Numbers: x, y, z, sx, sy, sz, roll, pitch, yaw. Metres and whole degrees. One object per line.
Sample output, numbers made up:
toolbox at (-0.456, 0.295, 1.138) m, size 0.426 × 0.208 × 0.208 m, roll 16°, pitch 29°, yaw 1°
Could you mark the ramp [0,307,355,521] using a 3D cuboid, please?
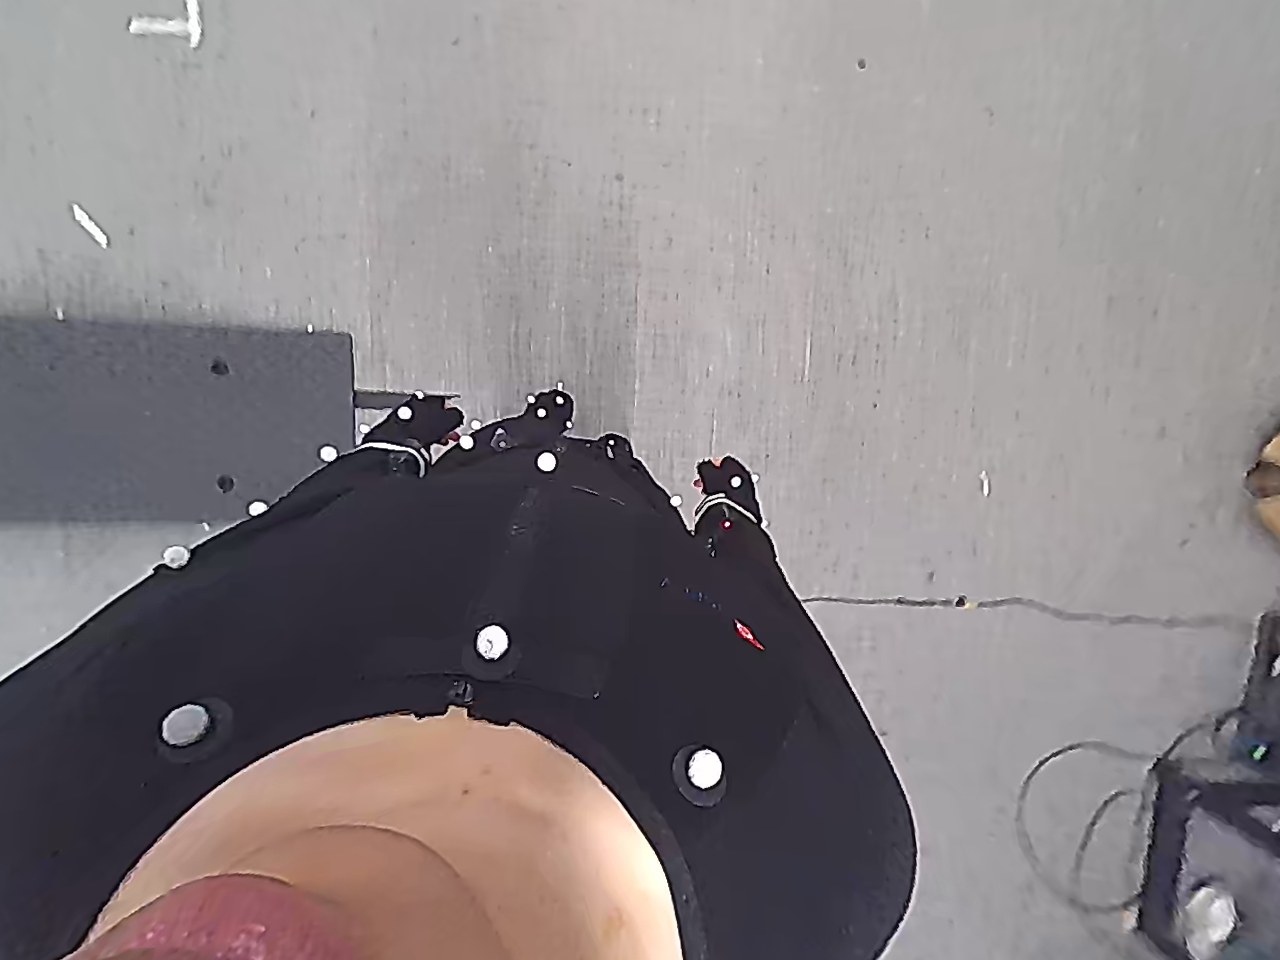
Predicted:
ramp at (-1.235, -0.147, 1.295) m, size 0.991 × 0.206 × 0.509 m, roll 0°, pitch 95°, yaw -4°
